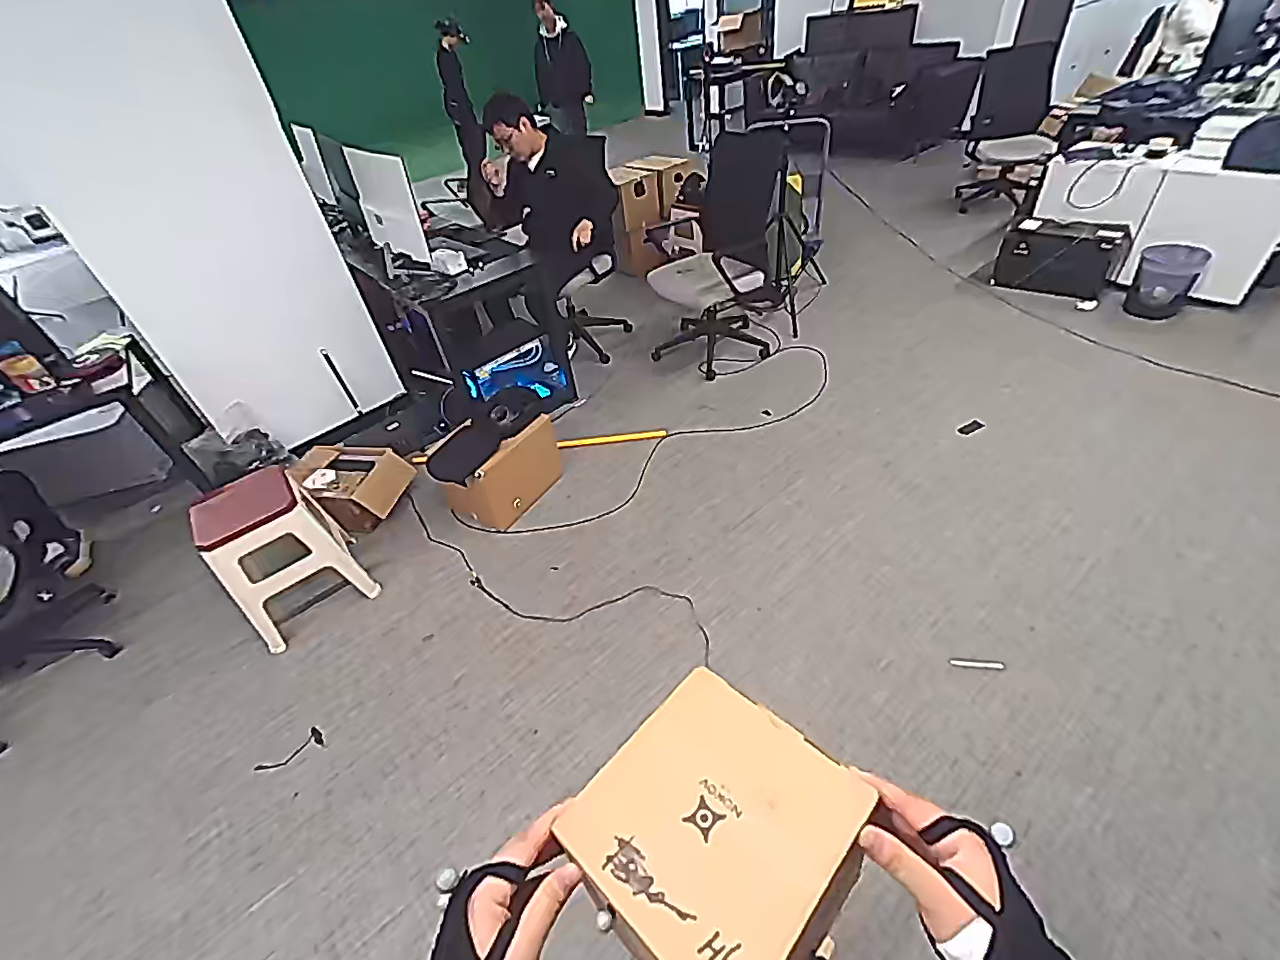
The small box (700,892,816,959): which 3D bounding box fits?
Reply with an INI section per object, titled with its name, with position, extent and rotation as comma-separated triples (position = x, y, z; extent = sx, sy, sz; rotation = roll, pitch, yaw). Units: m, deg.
[small box]
position = 0.227, 0.968, 1.060
extent = 0.179, 0.176, 0.168
rotation = -36, 48, -27
